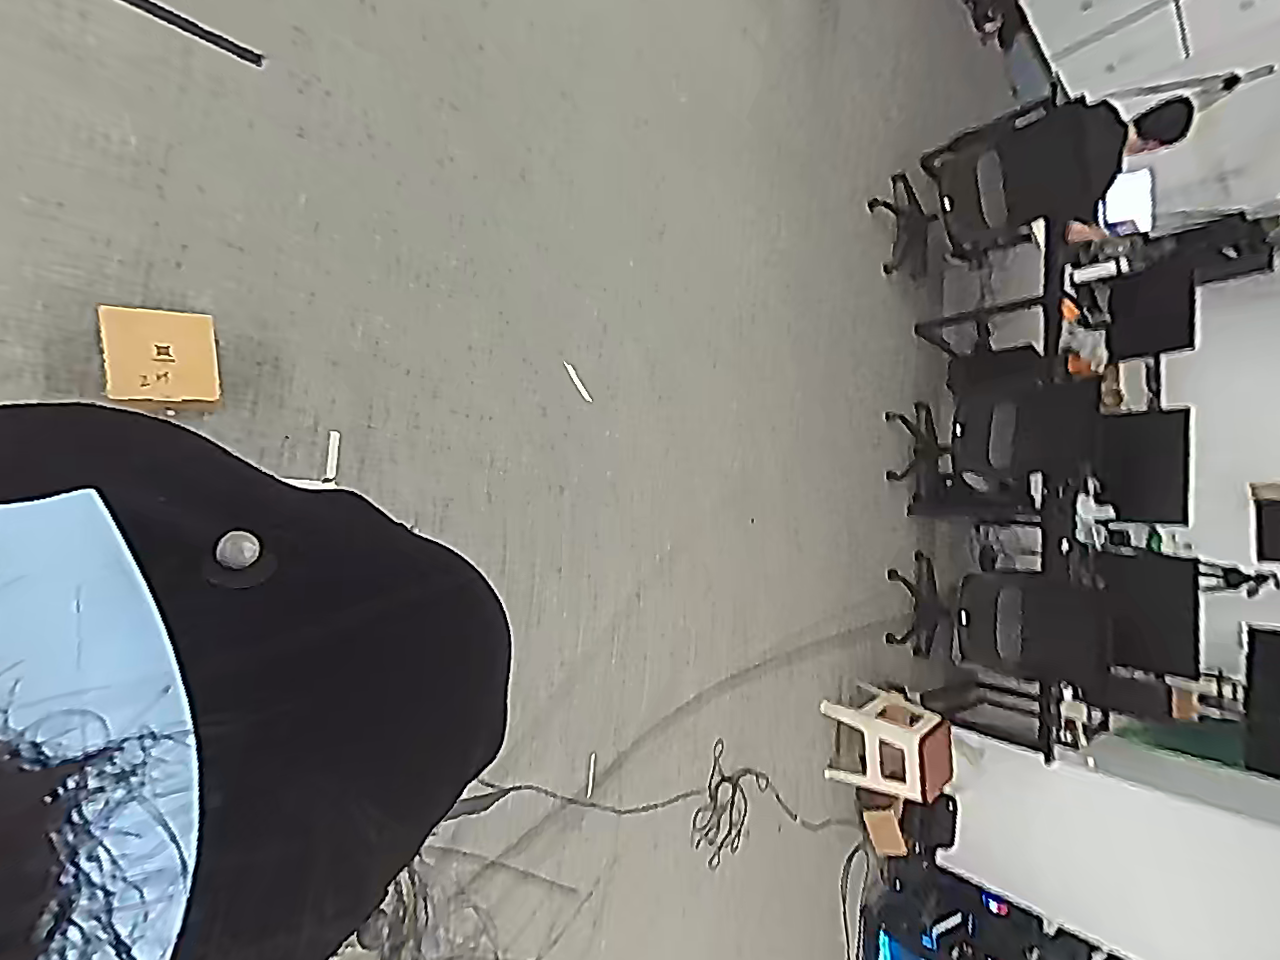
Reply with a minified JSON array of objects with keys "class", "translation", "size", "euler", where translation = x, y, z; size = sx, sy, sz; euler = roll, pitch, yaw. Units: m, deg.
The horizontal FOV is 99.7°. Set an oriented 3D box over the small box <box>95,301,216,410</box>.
[{"class":"small box","translation":[-0.969,-0.240,1.088],"size":[0.168,0.176,0.179],"euler":[-5,92,-39]}]
